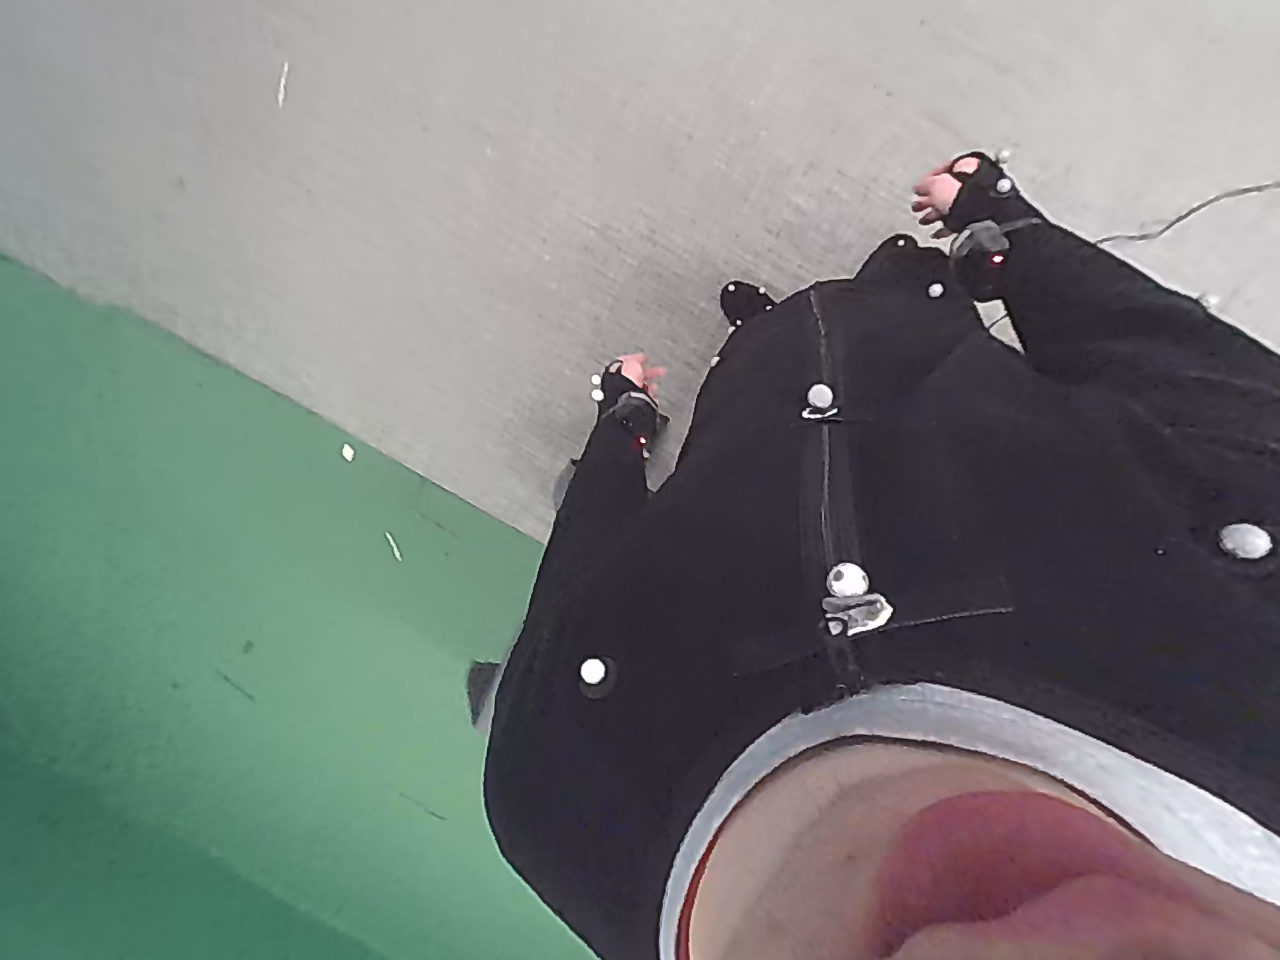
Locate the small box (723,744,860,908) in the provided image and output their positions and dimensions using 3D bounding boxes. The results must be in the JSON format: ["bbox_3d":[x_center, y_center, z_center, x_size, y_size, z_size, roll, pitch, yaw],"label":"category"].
[{"bbox_3d":[0.275,0.633,1.005,0.179,0.176,0.168,28,116,1],"label":"small box"}]
